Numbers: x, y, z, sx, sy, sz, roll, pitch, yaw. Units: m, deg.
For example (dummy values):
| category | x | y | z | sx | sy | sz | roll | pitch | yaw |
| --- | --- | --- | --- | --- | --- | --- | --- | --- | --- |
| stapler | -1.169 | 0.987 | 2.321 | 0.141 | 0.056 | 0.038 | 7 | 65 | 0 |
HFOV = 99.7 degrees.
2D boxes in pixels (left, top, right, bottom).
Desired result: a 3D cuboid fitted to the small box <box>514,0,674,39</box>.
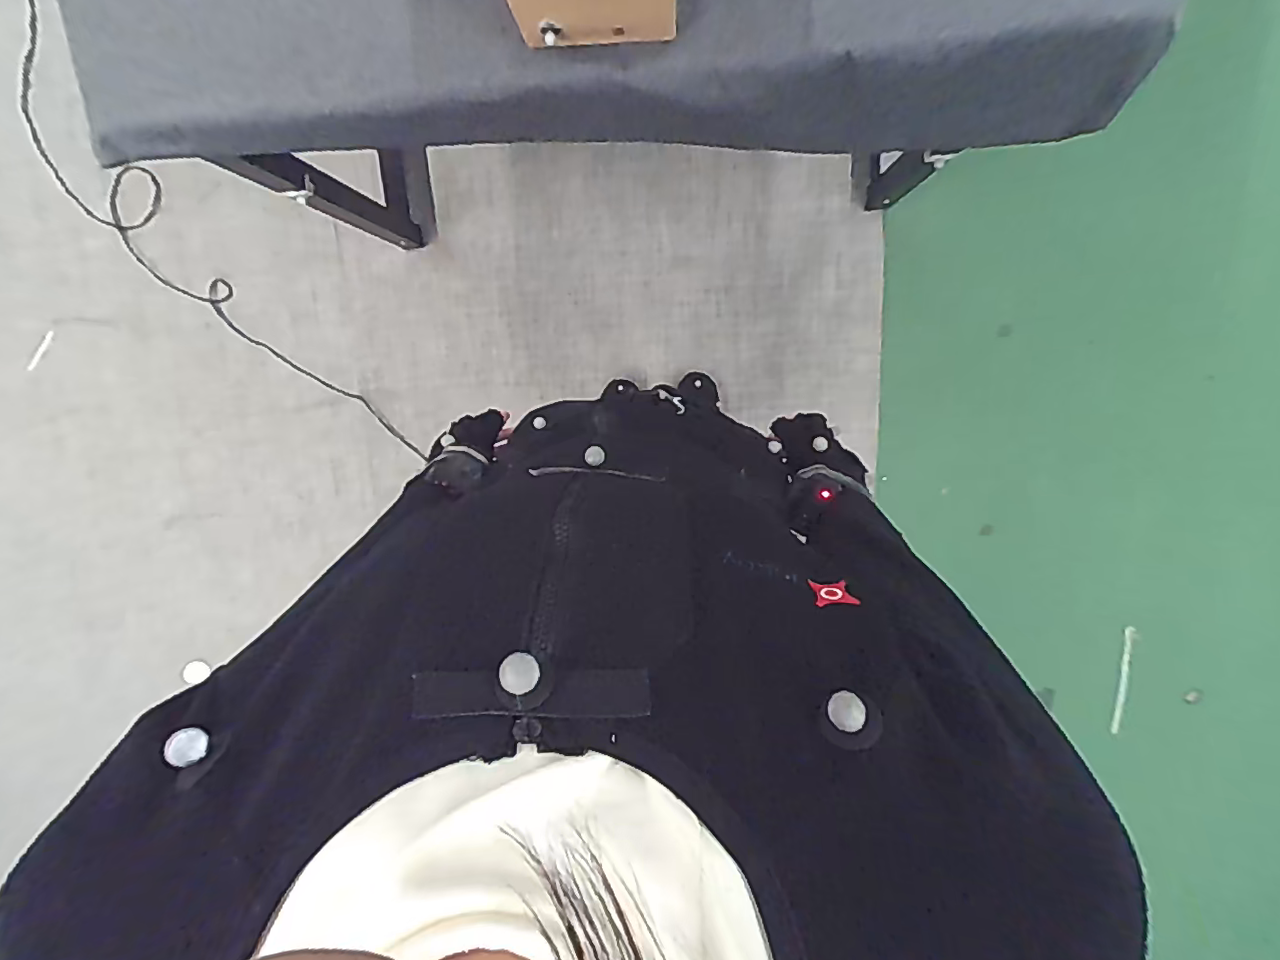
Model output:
| category | x | y | z | sx | sy | sz | roll | pitch | yaw |
| --- | --- | --- | --- | --- | --- | --- | --- | --- | --- |
| small box | -0.049 | -0.556 | 0.508 | 0.168 | 0.176 | 0.179 | 1 | 100 | 2 |
